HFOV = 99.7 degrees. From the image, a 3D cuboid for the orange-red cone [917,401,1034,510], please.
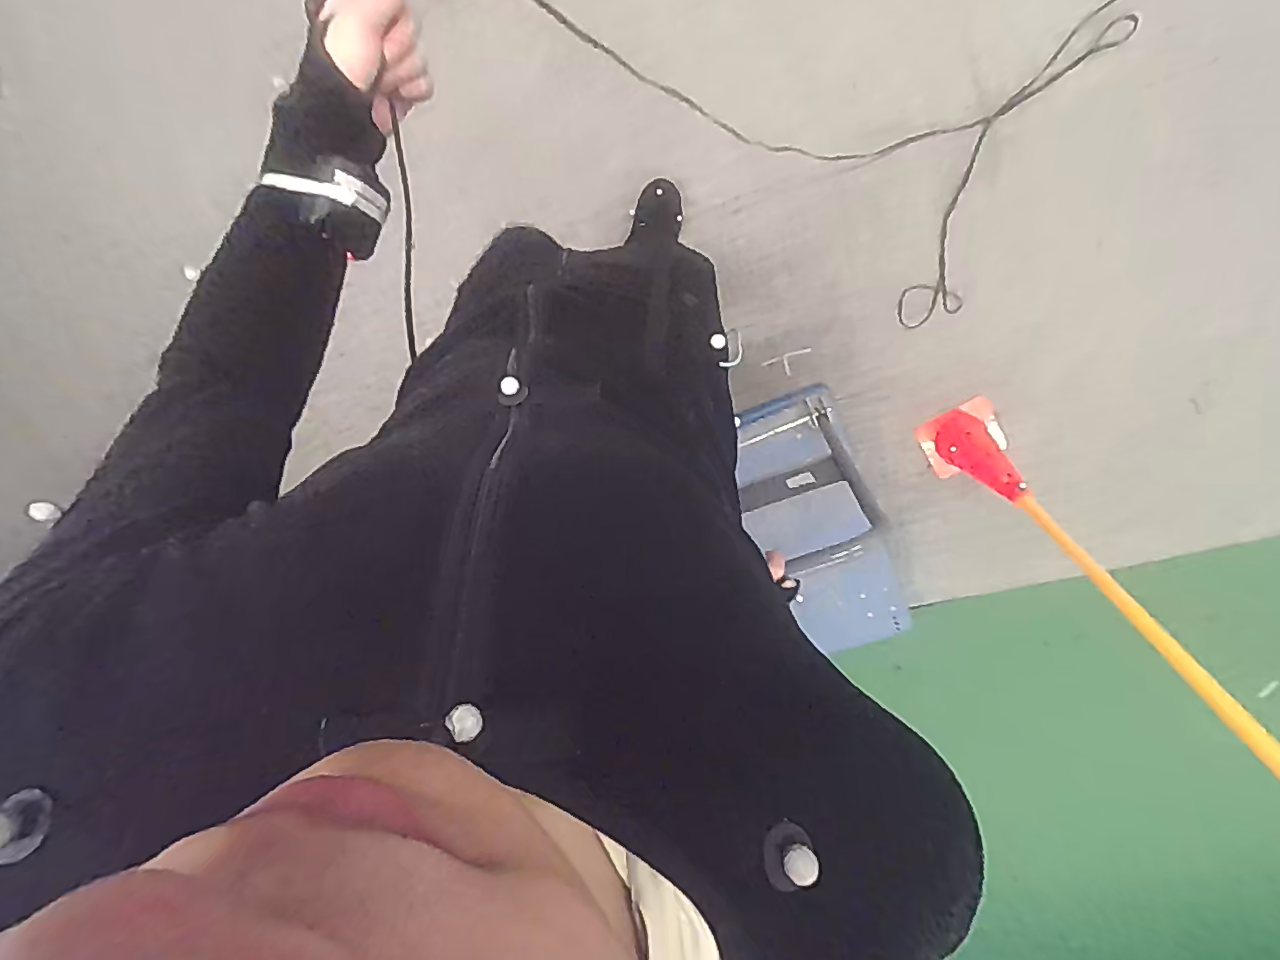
[{"bbox_3d":[0.909,-0.031,1.408,0.199,0.360,0.198,-29,113,18],"label":"orange-red cone"}]
